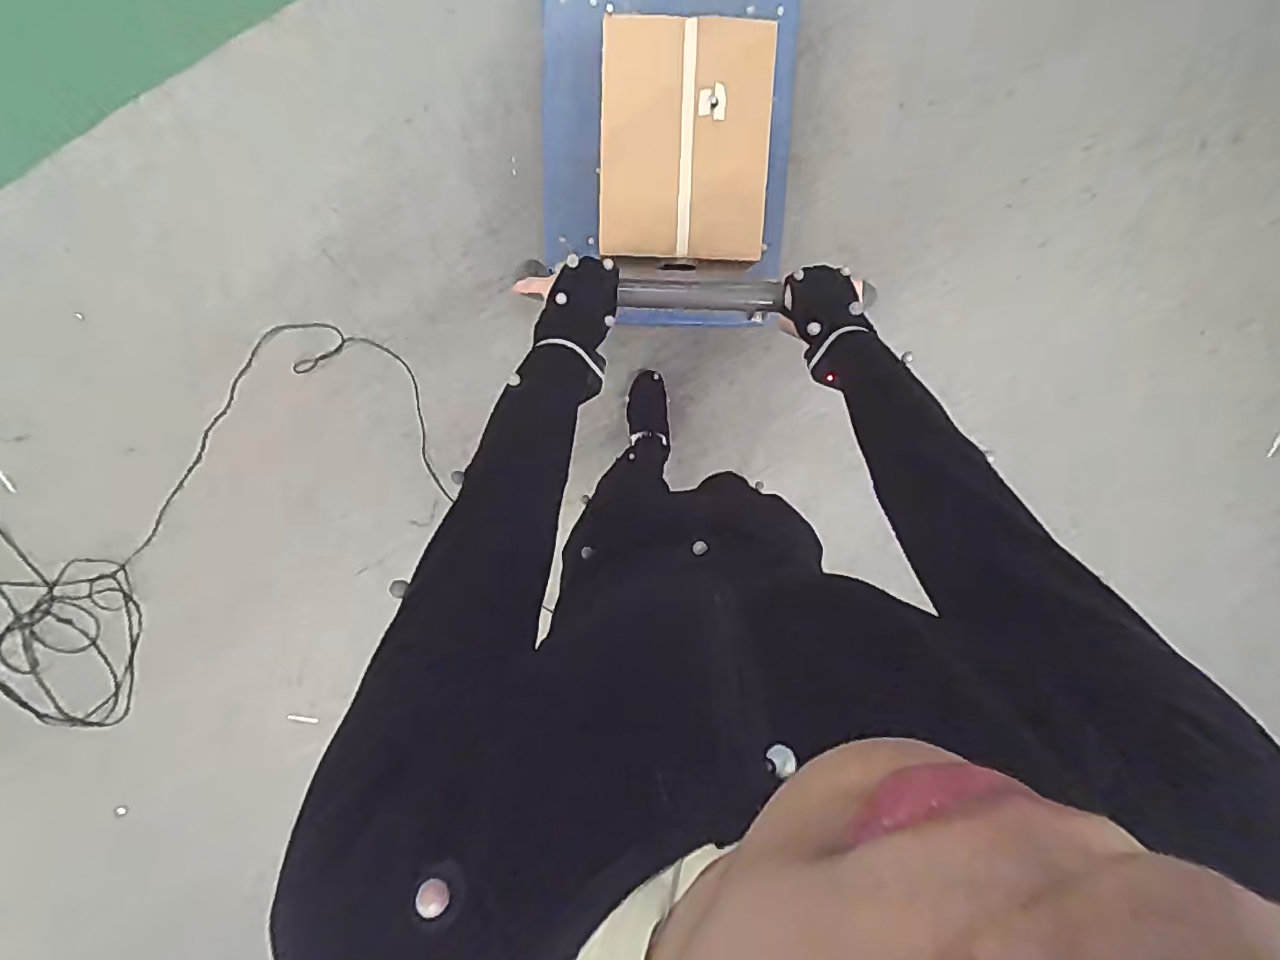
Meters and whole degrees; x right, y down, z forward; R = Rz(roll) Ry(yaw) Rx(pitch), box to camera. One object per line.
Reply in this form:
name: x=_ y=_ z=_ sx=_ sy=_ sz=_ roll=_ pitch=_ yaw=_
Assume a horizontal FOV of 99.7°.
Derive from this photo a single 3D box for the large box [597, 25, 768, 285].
large box: x=0.076 y=-0.654 z=1.165 sx=0.320 sy=0.320 sz=0.408 roll=2 pitch=101 yaw=-2
